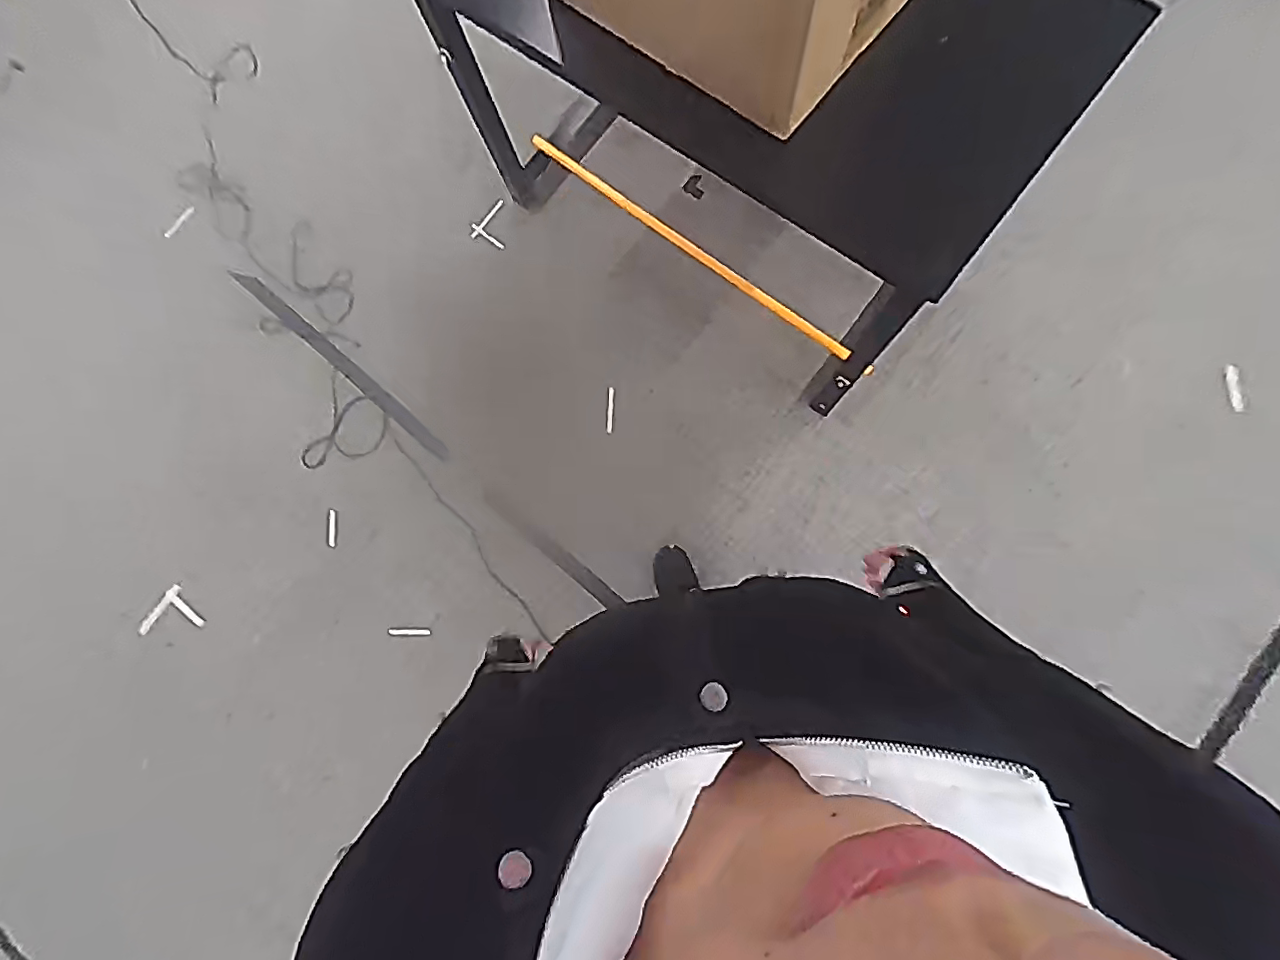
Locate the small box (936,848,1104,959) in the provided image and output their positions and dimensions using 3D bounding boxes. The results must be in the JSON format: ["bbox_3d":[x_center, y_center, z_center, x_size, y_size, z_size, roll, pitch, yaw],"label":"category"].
[{"bbox_3d":[0.712,0.855,1.038,0.179,0.176,0.168,30,85,9],"label":"small box"}]
